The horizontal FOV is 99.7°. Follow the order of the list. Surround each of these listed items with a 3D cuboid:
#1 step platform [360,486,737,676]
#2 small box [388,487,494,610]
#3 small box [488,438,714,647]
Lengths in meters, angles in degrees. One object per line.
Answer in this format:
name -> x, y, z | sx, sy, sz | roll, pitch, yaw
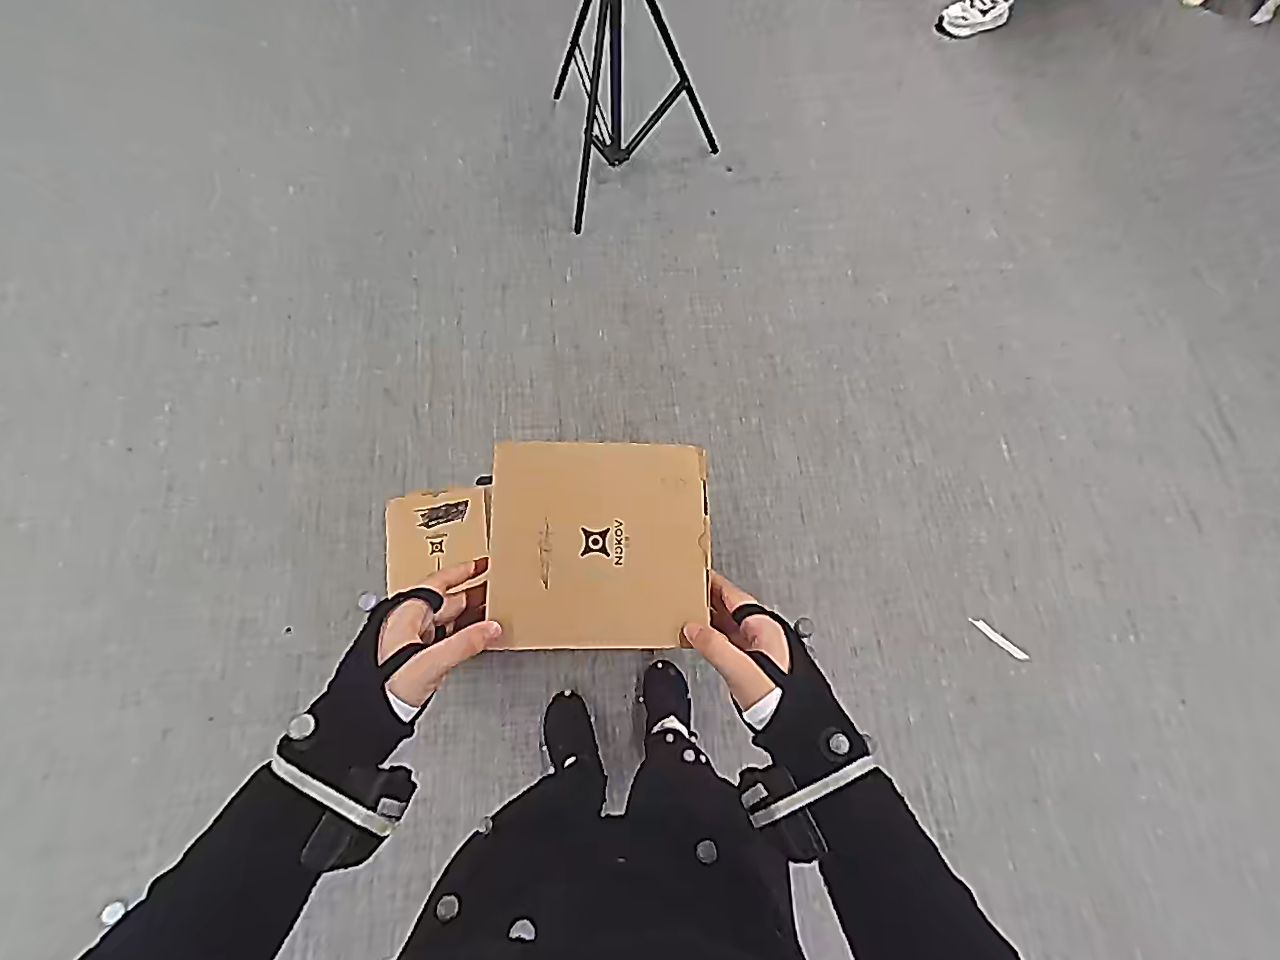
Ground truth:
step platform -> -0.167, 0.200, 1.081 | 0.684, 0.204, 0.286 | -6, 71, -5
small box -> -0.333, 0.127, 0.963 | 0.168, 0.176, 0.179 | -8, 72, -5
small box -> -0.036, 0.063, 0.507 | 0.179, 0.176, 0.168 | -1, 77, -4
